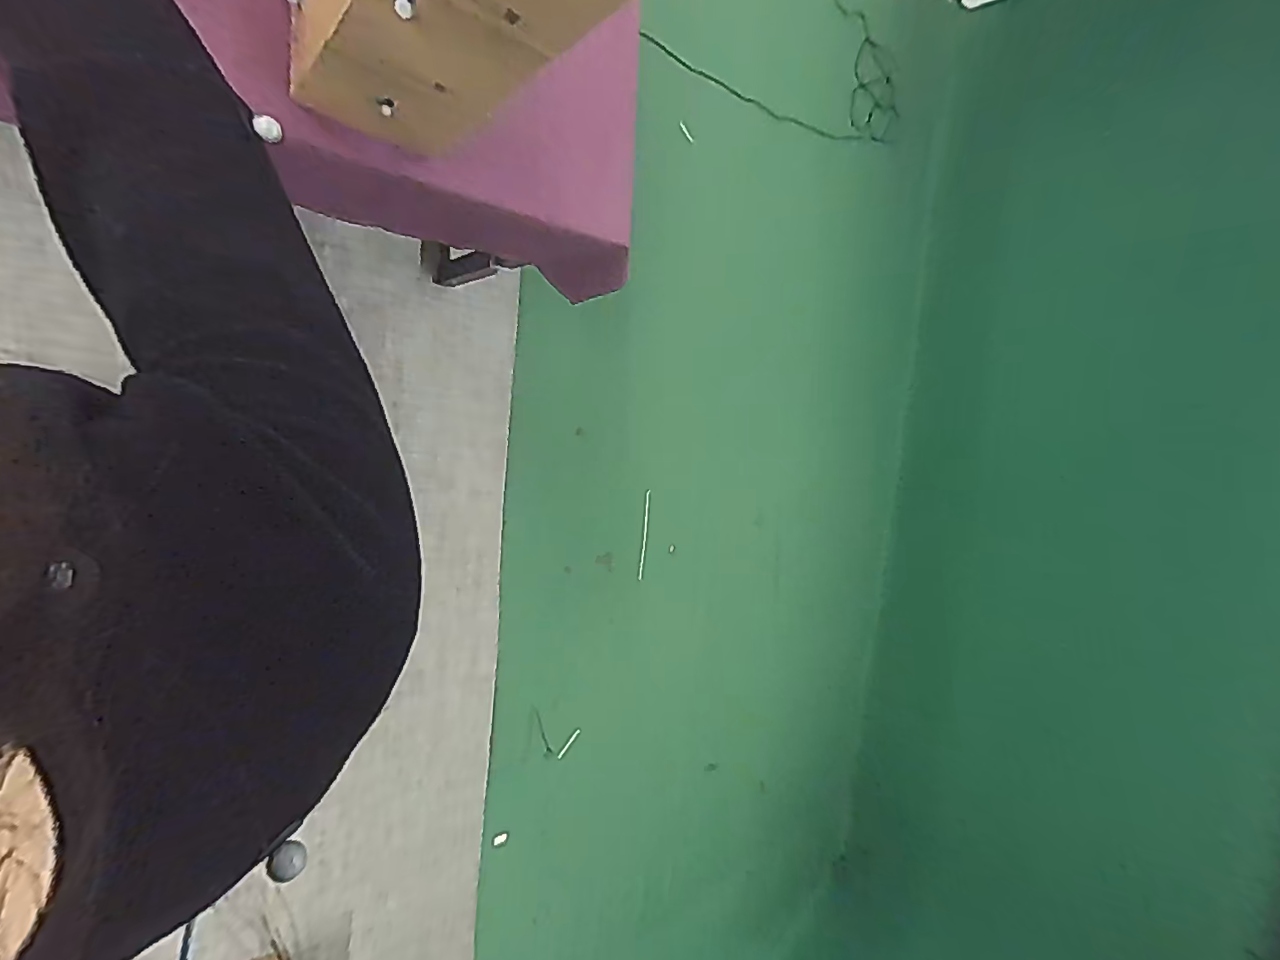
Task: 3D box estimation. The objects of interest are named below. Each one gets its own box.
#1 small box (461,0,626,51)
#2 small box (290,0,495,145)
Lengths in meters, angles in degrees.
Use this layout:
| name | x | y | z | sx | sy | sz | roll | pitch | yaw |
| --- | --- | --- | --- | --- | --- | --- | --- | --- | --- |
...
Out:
| name | x | y | z | sx | sy | sz | roll | pitch | yaw |
| --- | --- | --- | --- | --- | --- | --- | --- | --- | --- |
| small box | -0.077 | -0.474 | 0.391 | 0.168 | 0.176 | 0.179 | -5 | 99 | -43 |
| small box | -0.290 | -0.528 | 0.637 | 0.179 | 0.176 | 0.168 | -1 | 98 | -43 |
